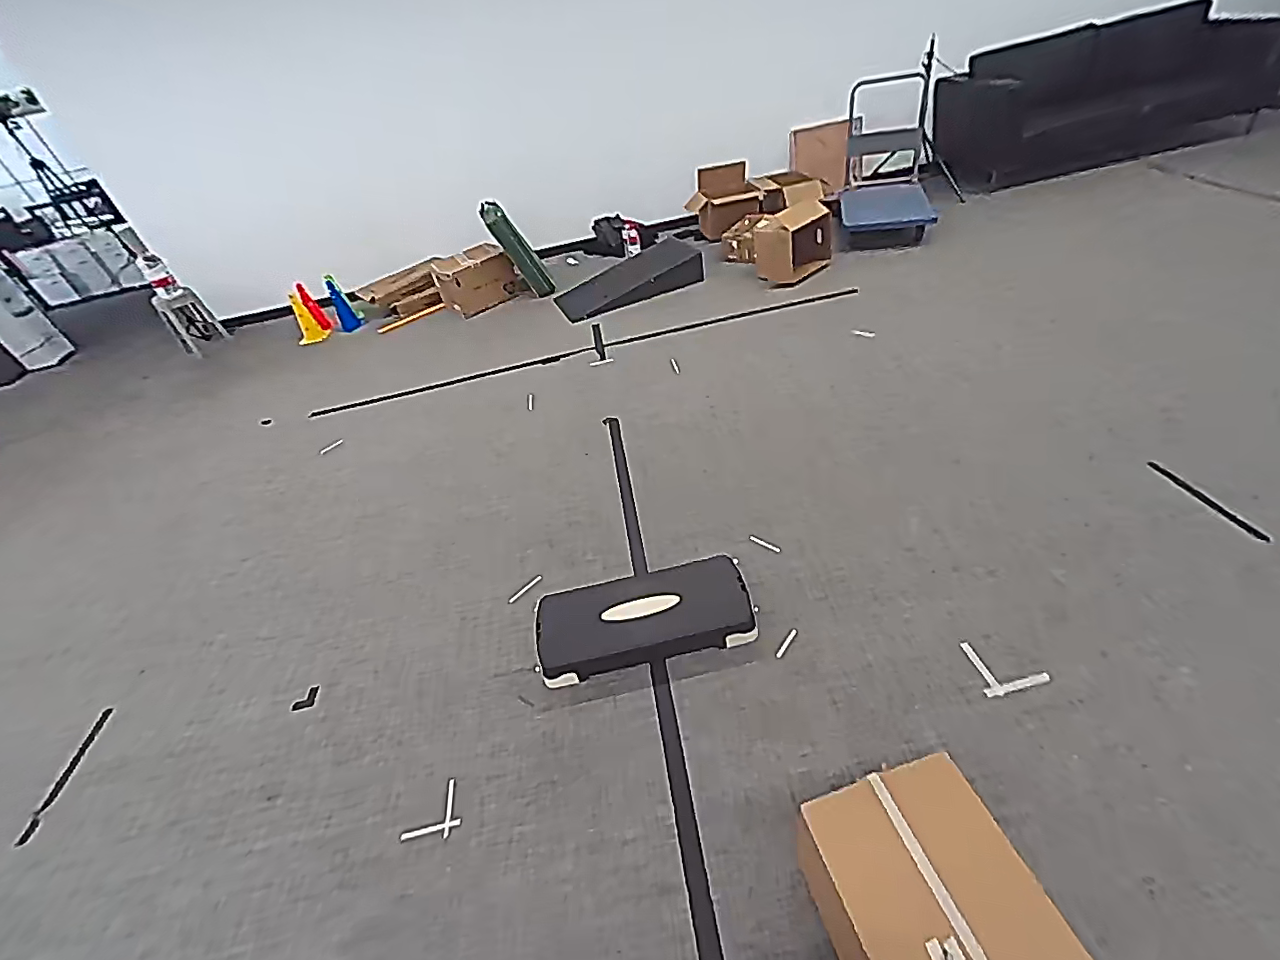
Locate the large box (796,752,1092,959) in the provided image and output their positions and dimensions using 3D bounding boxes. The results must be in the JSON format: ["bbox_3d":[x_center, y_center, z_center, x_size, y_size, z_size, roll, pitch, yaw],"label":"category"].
[{"bbox_3d":[0.525,0.802,0.991,0.320,0.320,0.408,-17,41,-5],"label":"large box"}]
